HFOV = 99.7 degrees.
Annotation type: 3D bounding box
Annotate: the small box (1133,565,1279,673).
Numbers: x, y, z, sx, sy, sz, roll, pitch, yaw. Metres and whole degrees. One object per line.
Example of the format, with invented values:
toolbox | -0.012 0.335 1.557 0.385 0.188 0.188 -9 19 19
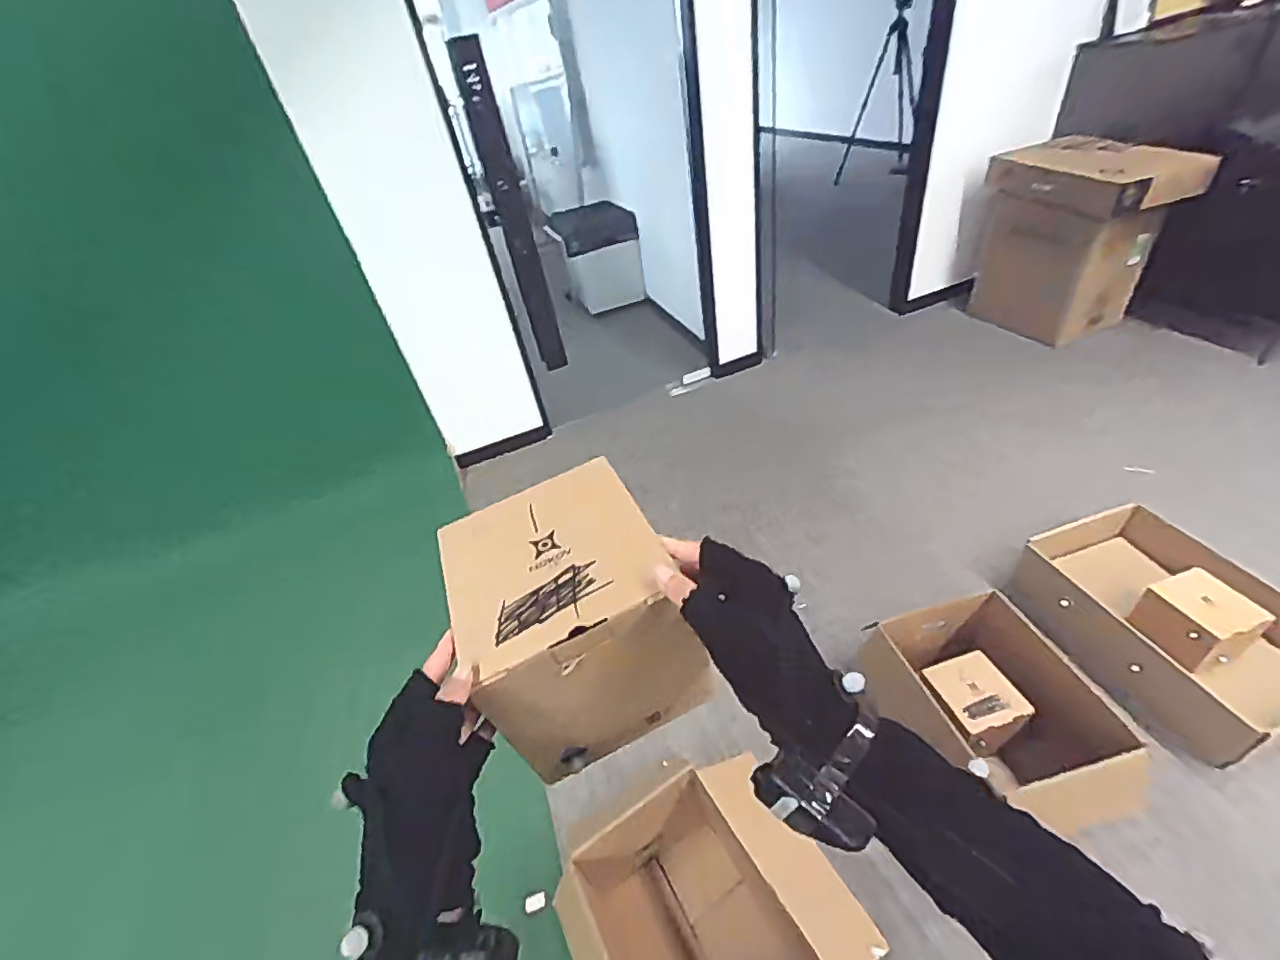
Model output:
small box | 1.420 0.351 1.369 0.168 0.176 0.179 -17 39 -7
